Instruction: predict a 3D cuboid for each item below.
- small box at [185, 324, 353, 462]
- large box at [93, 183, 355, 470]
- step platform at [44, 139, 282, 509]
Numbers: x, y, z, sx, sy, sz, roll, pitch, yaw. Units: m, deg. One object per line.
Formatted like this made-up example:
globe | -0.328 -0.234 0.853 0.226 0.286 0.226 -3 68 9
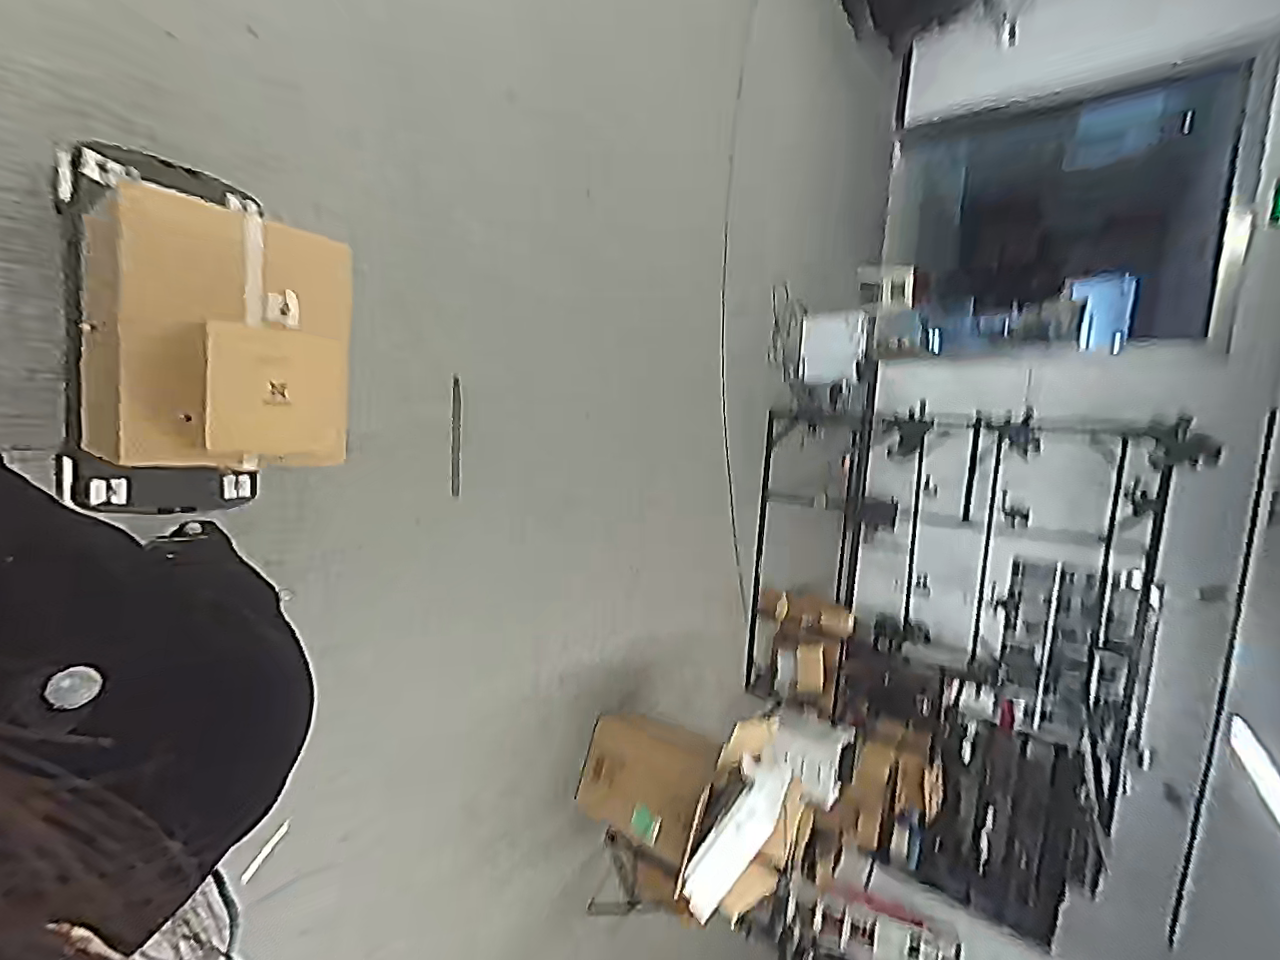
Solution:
small box | -0.556 -0.123 0.812 0.168 0.176 0.179 0 96 -52
large box | -0.737 -0.228 0.964 0.320 0.320 0.408 -1 96 -53
step platform | -0.939 -0.282 1.084 0.286 0.204 0.684 7 90 -53
